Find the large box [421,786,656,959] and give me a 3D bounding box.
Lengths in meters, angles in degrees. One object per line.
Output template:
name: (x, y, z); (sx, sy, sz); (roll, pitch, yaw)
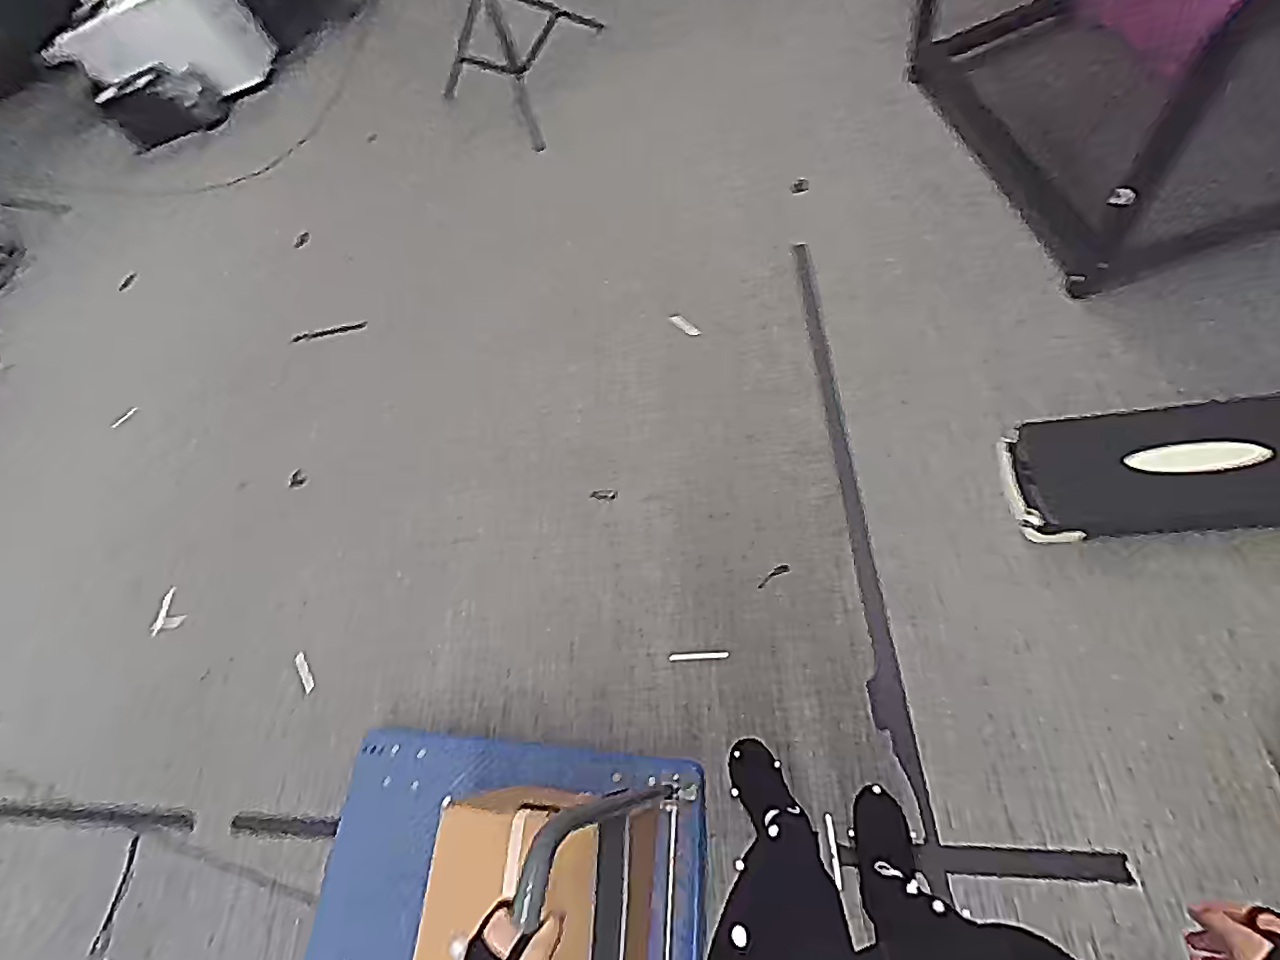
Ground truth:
large box: (-0.165, 0.807, 0.973); (0.320, 0.320, 0.408); (-2, 65, 16)
